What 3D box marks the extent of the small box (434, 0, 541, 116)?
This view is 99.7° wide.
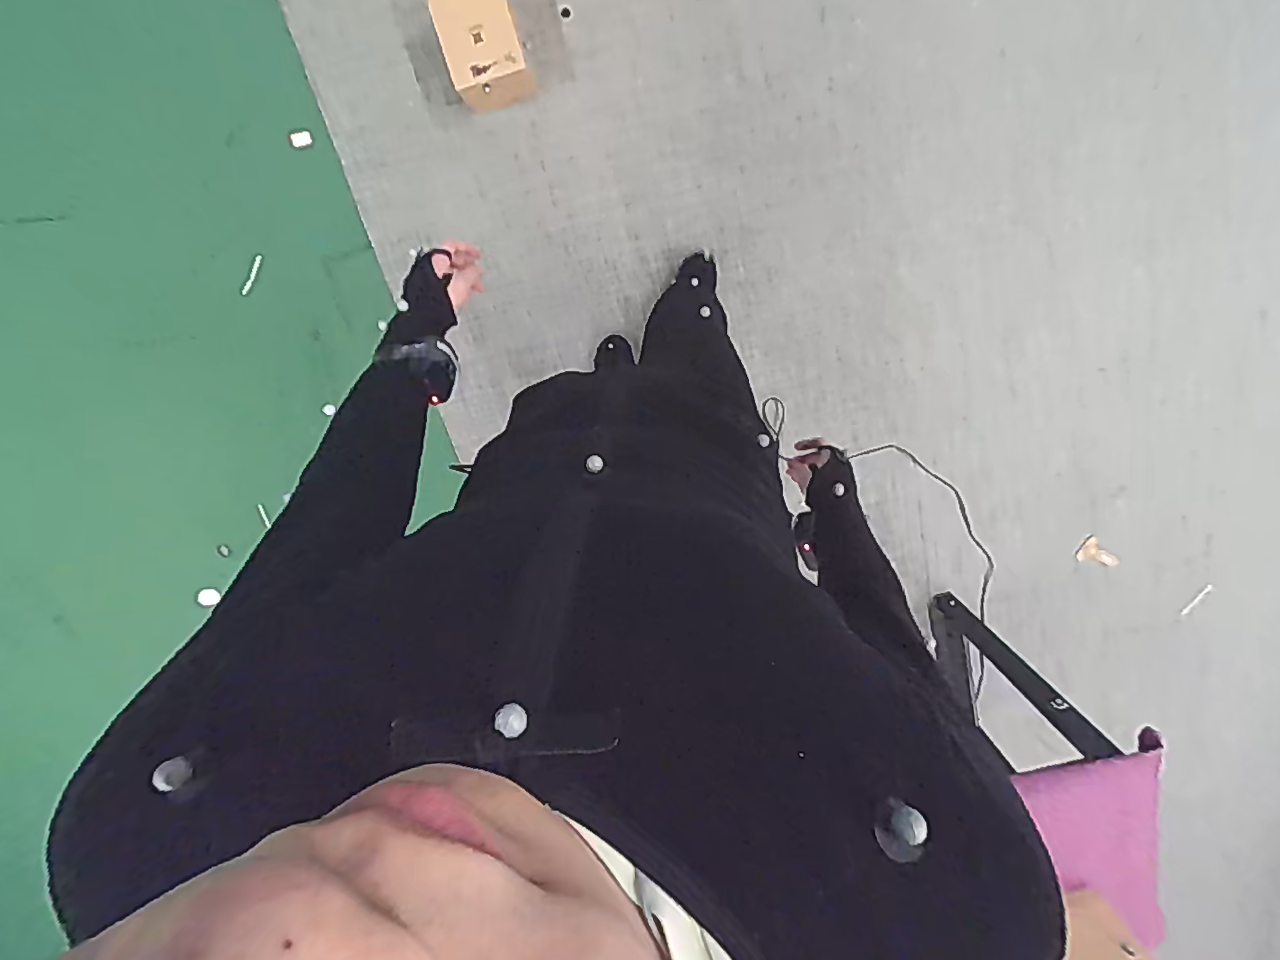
[{"bbox_3d":[-0.339,-0.980,1.240,0.168,0.176,0.179,-14,107,5],"label":"small box"}]
